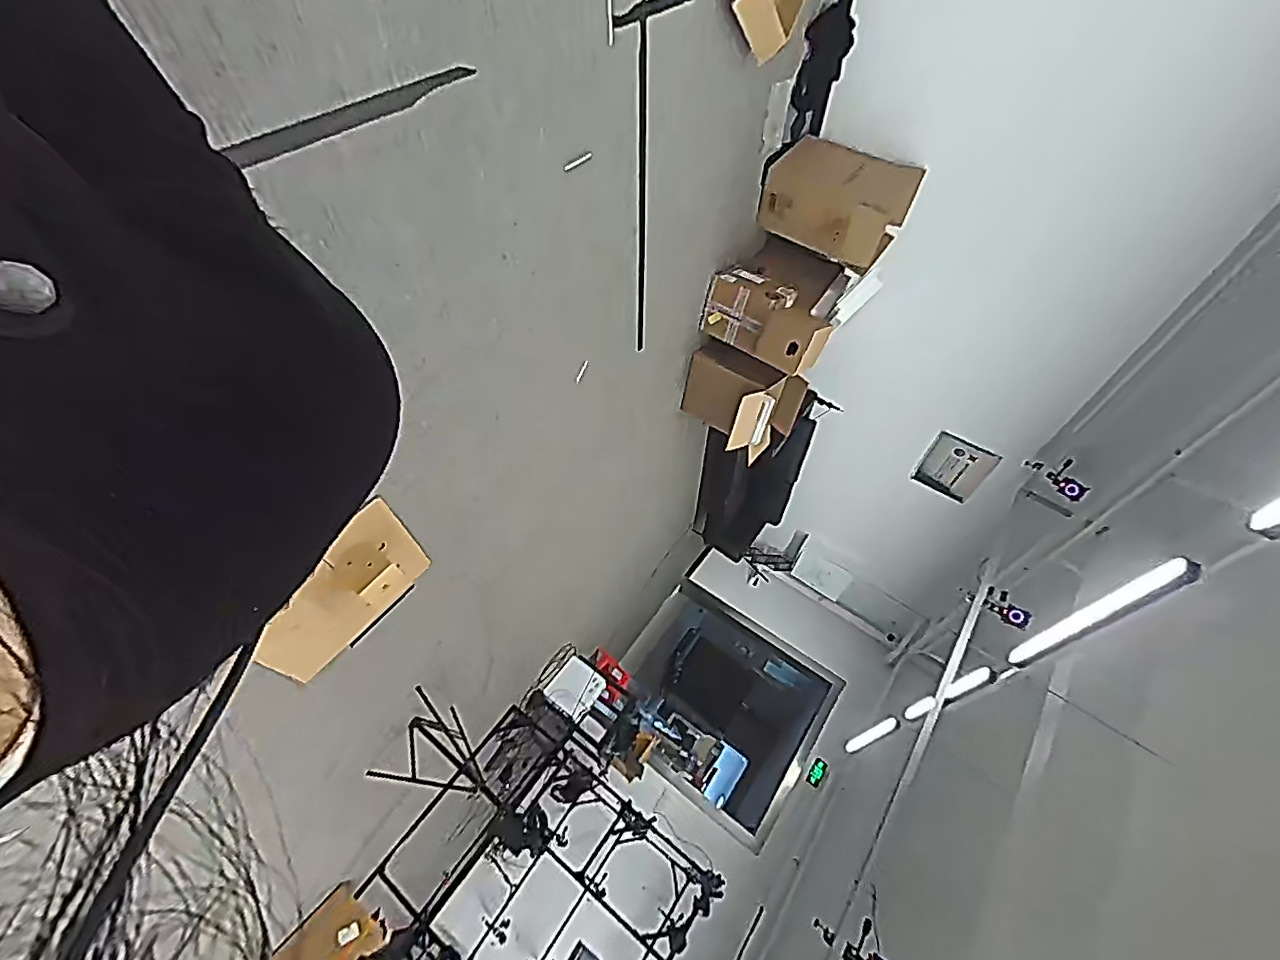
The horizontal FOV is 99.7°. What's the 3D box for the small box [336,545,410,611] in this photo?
[{"bbox_3d":[-1.066,0.385,2.155,0.168,0.176,0.179,-49,157,-24],"label":"small box"}]
